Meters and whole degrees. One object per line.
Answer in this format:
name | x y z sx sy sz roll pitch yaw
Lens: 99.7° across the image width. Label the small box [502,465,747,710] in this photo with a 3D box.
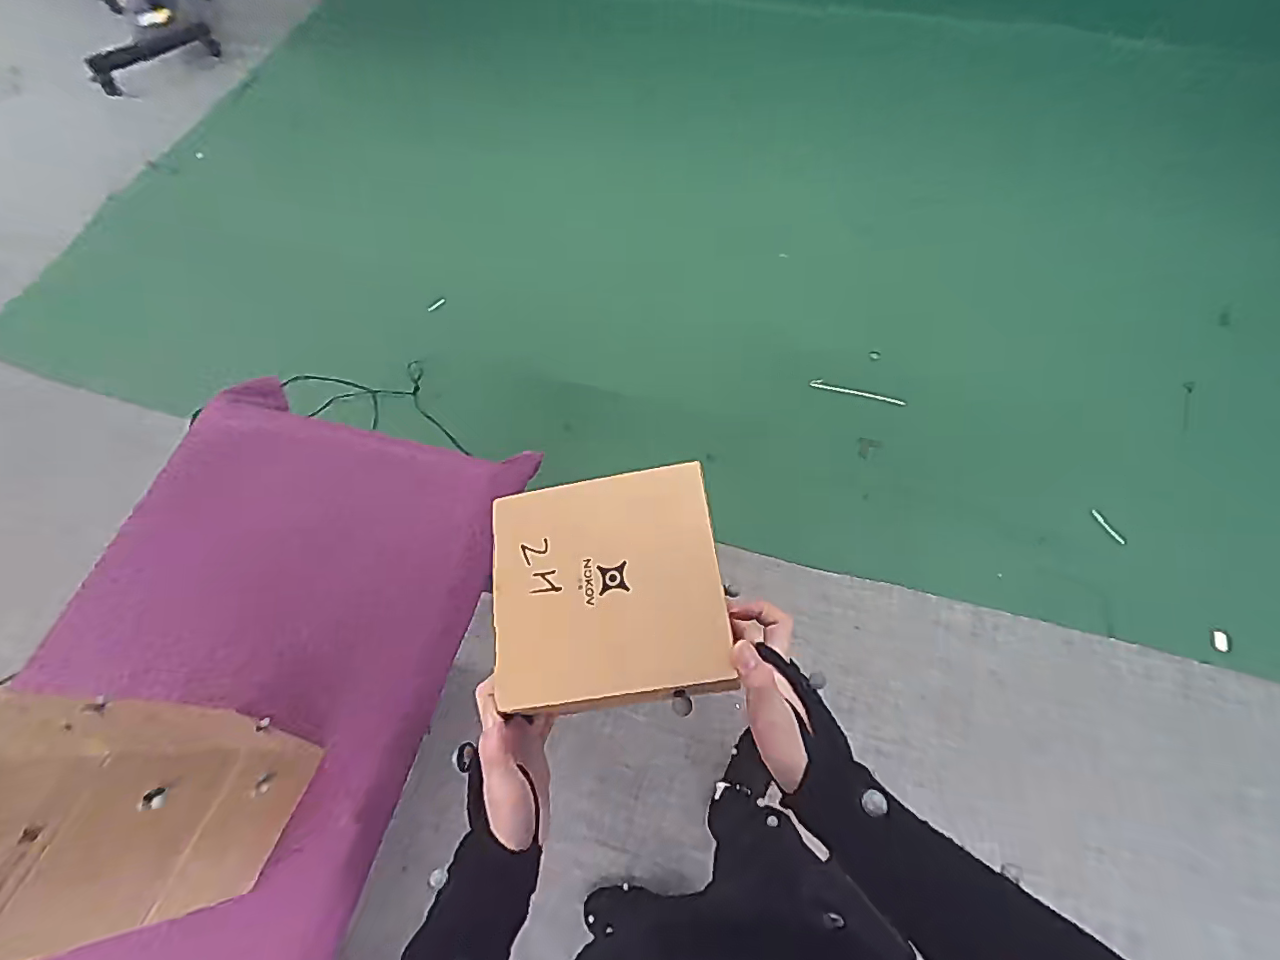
small box | -0.007 0.106 0.479 0.179 0.176 0.168 -10 64 7
